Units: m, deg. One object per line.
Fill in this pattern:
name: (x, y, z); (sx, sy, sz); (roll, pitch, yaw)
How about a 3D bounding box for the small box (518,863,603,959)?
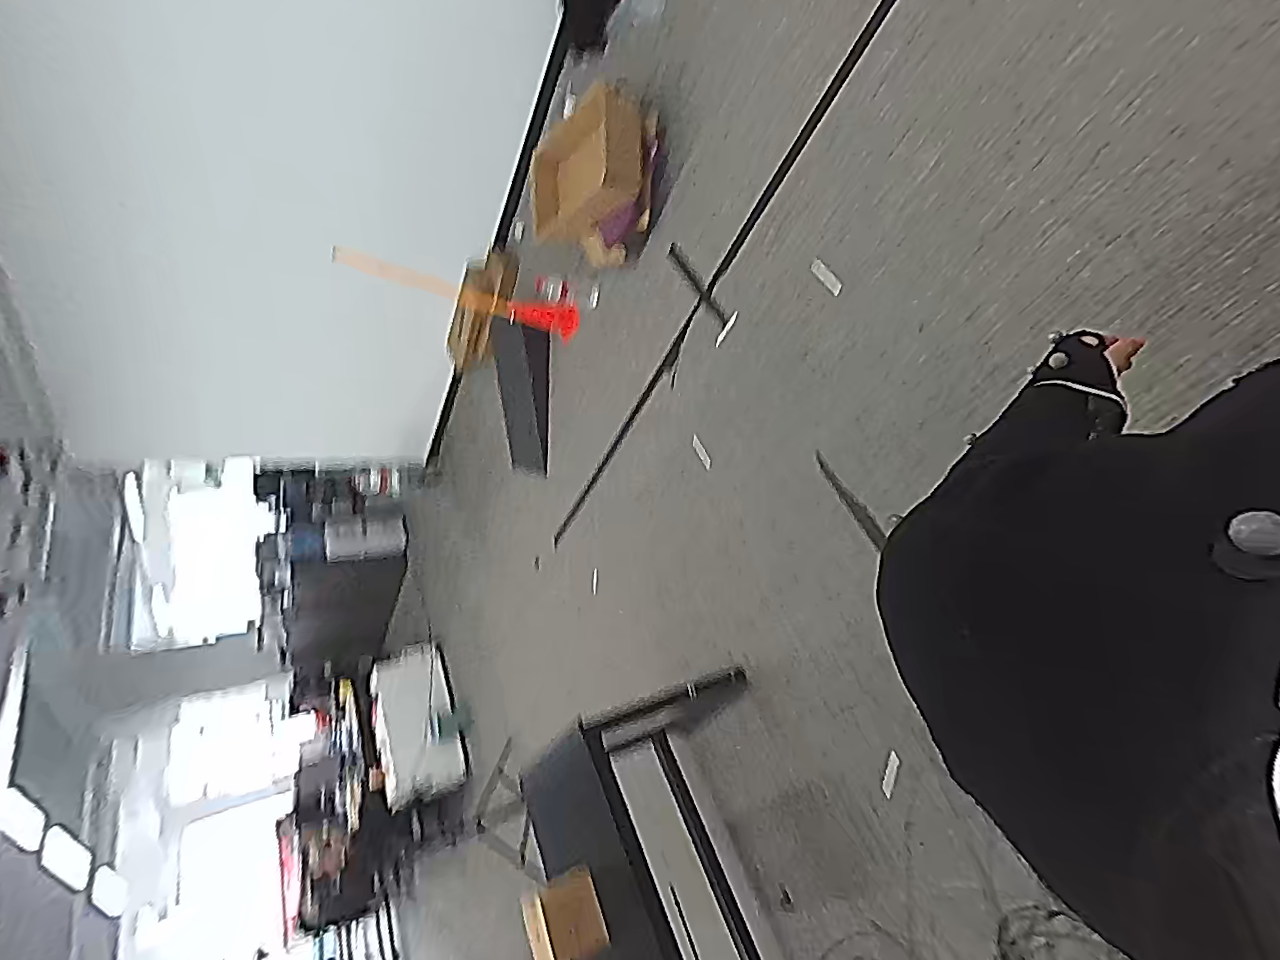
small box: (-0.231, 1.269, 1.585); (0.168, 0.176, 0.179); (-53, 53, 41)
